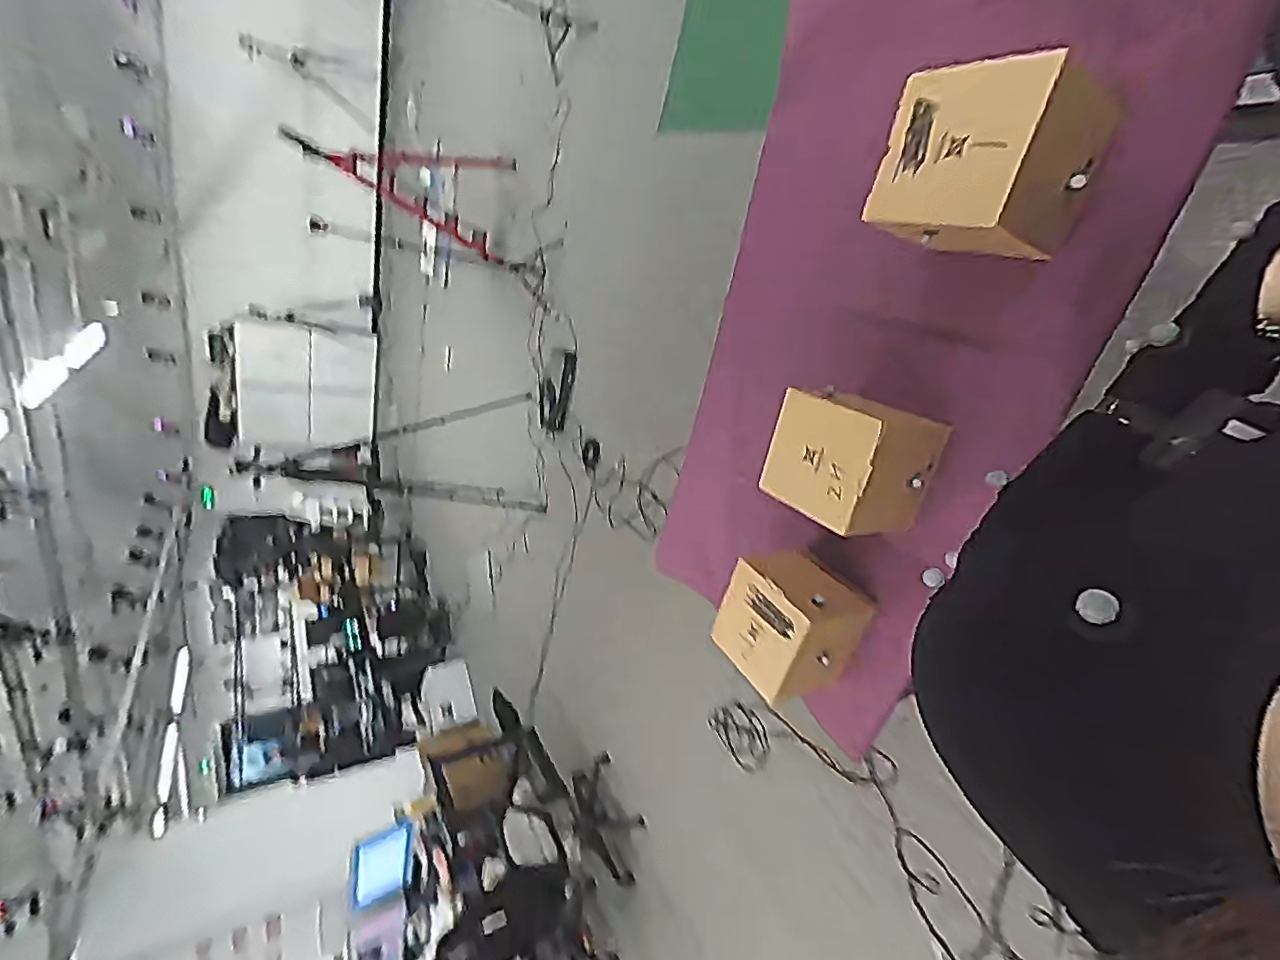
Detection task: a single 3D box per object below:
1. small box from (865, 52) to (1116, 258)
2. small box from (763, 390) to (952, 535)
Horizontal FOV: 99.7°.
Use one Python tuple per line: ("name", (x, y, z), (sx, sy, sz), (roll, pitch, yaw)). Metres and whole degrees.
("small box", (0.422, -0.380, 0.663), (0.179, 0.176, 0.168), (37, 121, 48))
("small box", (0.323, -0.030, 0.817), (0.179, 0.176, 0.168), (36, 121, 50))
